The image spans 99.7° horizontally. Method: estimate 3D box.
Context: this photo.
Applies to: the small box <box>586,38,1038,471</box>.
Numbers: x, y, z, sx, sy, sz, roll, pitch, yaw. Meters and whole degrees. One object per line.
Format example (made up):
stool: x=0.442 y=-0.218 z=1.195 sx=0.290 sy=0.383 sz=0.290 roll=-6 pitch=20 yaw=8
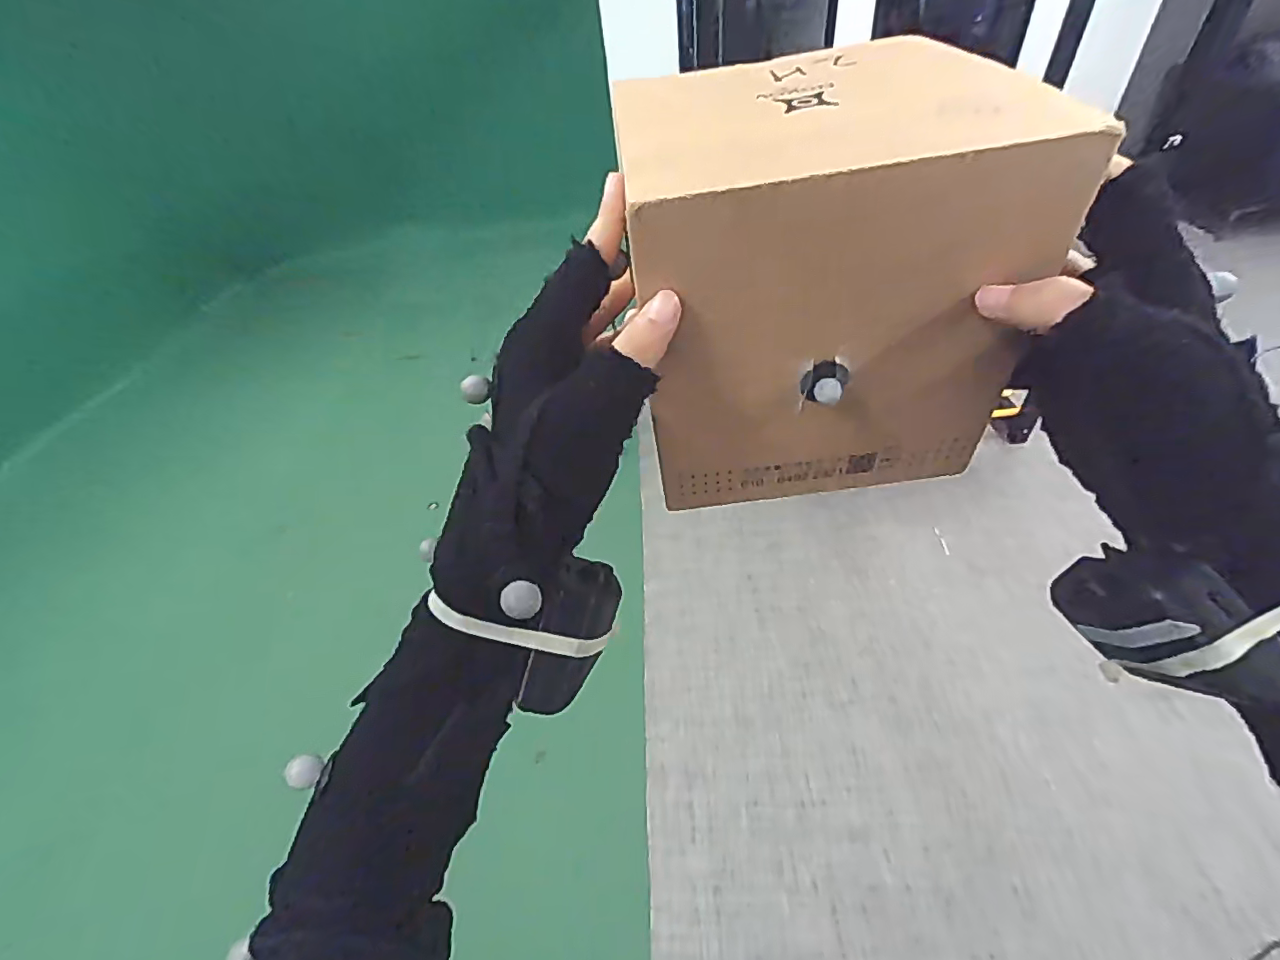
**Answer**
small box: x=0.068 y=-0.119 z=0.307 sx=0.168 sy=0.176 sz=0.179 roll=-7 pitch=45 yaw=3
